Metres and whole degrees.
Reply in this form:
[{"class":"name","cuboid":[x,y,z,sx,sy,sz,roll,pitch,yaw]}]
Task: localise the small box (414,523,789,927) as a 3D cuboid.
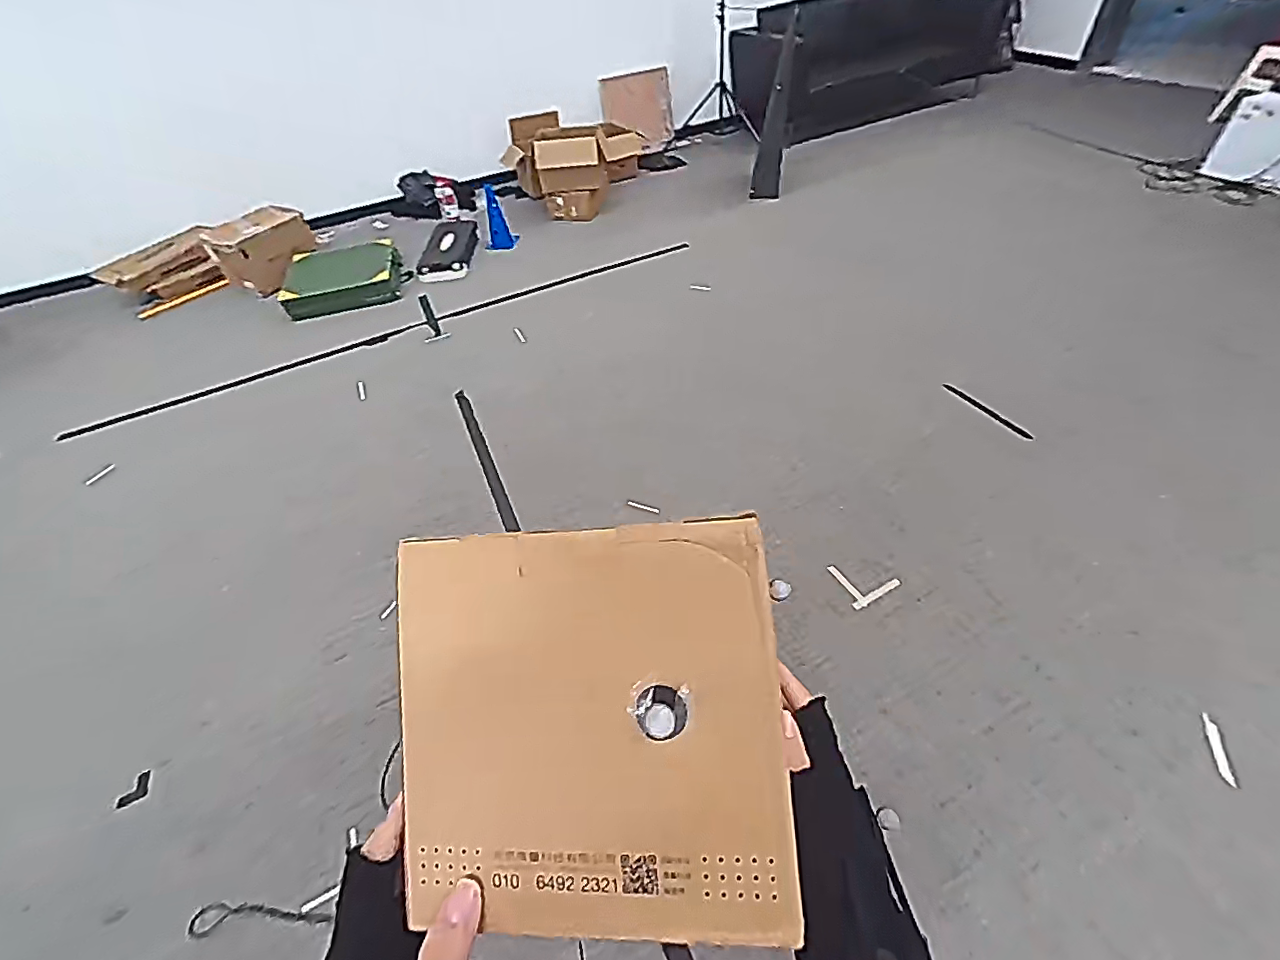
[{"class":"small box","cuboid":[-0.007,0.119,0.322,0.168,0.179,0.176,-5,84,11]}]
